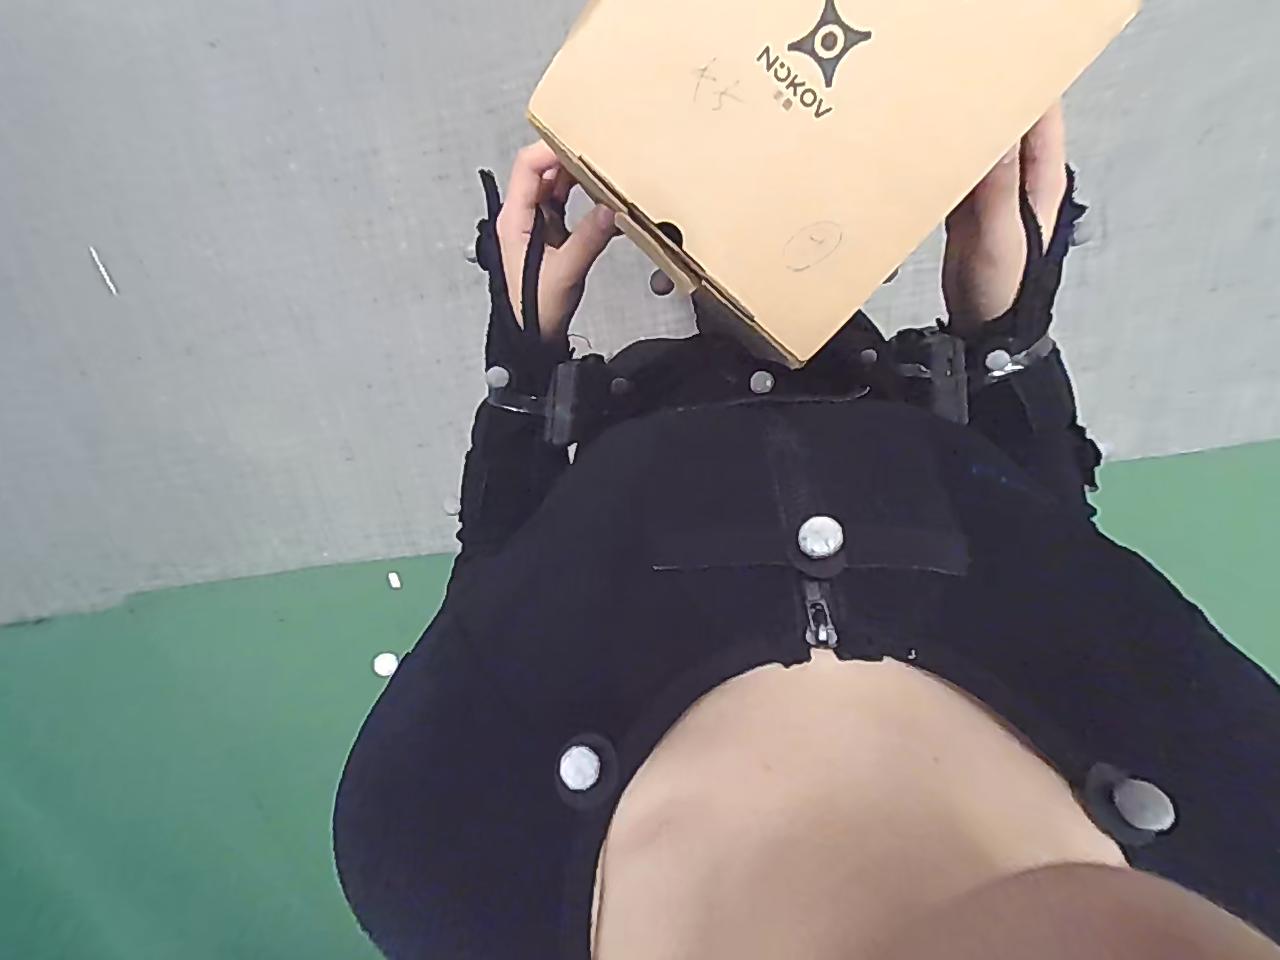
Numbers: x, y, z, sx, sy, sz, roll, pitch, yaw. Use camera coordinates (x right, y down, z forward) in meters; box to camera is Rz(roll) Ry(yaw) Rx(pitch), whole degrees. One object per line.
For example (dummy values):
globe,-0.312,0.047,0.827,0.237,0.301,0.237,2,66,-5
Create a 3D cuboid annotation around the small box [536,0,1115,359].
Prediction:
small box,0.078,-0.189,0.300,0.168,0.176,0.179,40,106,-5
